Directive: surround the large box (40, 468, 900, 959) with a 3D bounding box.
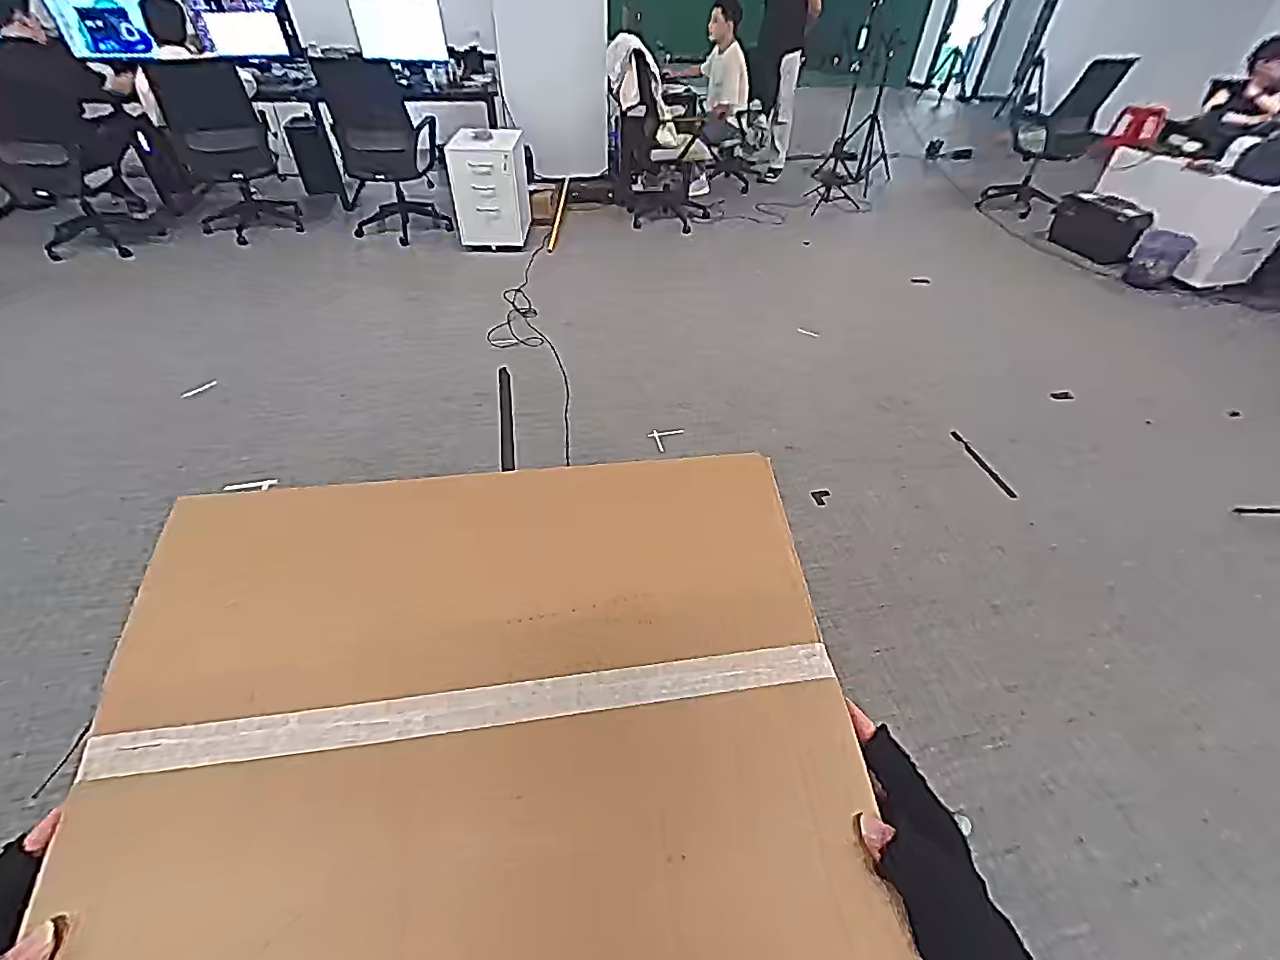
[{"bbox_3d":[-0.094,0.215,0.437,0.408,0.320,0.320,-5,58,-7],"label":"large box"}]
